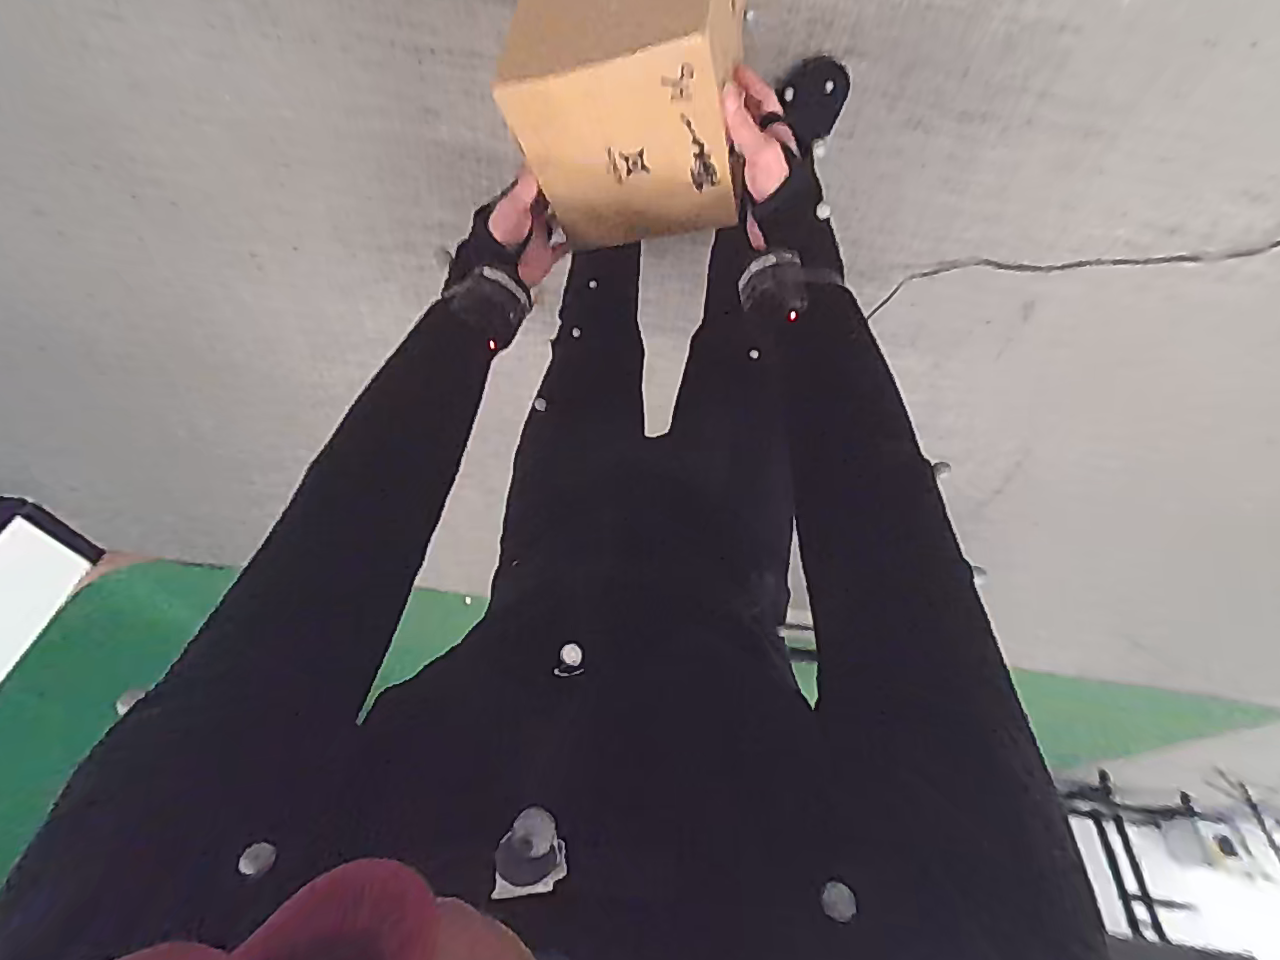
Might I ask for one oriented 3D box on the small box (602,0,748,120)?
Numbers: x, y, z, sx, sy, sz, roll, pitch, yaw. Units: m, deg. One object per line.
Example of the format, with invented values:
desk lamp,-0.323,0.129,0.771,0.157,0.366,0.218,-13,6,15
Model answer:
small box,0.045,-0.579,0.668,0.168,0.176,0.179,6,143,3
